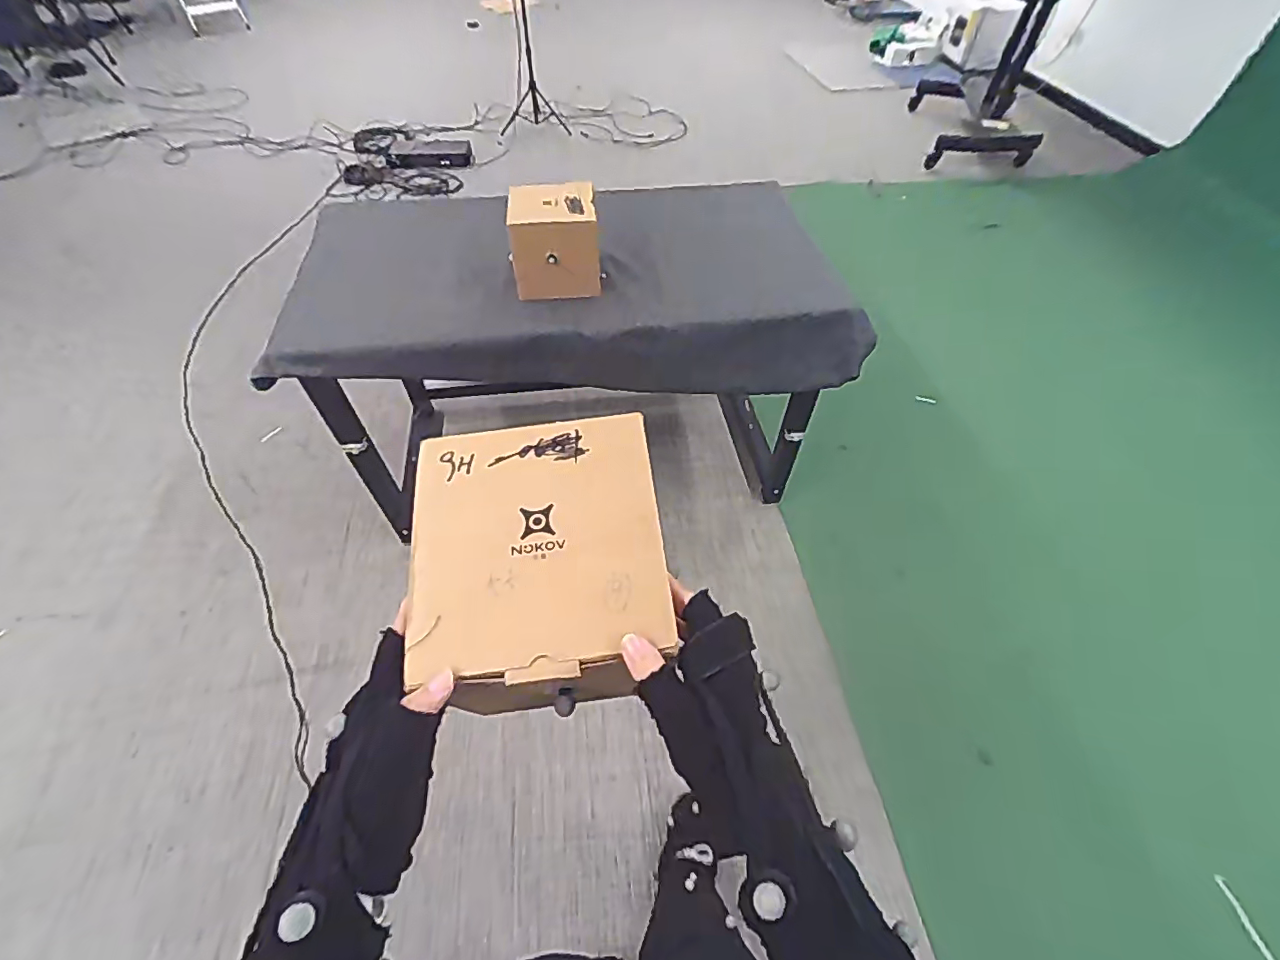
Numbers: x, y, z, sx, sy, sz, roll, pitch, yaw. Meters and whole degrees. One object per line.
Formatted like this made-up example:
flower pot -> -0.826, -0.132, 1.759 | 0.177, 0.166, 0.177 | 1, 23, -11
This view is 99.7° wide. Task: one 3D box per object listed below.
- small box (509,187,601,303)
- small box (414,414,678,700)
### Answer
small box -> -0.173, -0.497, 1.149 | 0.179, 0.176, 0.168 | -5, 52, -3
small box -> -0.062, 0.073, 0.433 | 0.168, 0.176, 0.179 | -7, 63, -2
